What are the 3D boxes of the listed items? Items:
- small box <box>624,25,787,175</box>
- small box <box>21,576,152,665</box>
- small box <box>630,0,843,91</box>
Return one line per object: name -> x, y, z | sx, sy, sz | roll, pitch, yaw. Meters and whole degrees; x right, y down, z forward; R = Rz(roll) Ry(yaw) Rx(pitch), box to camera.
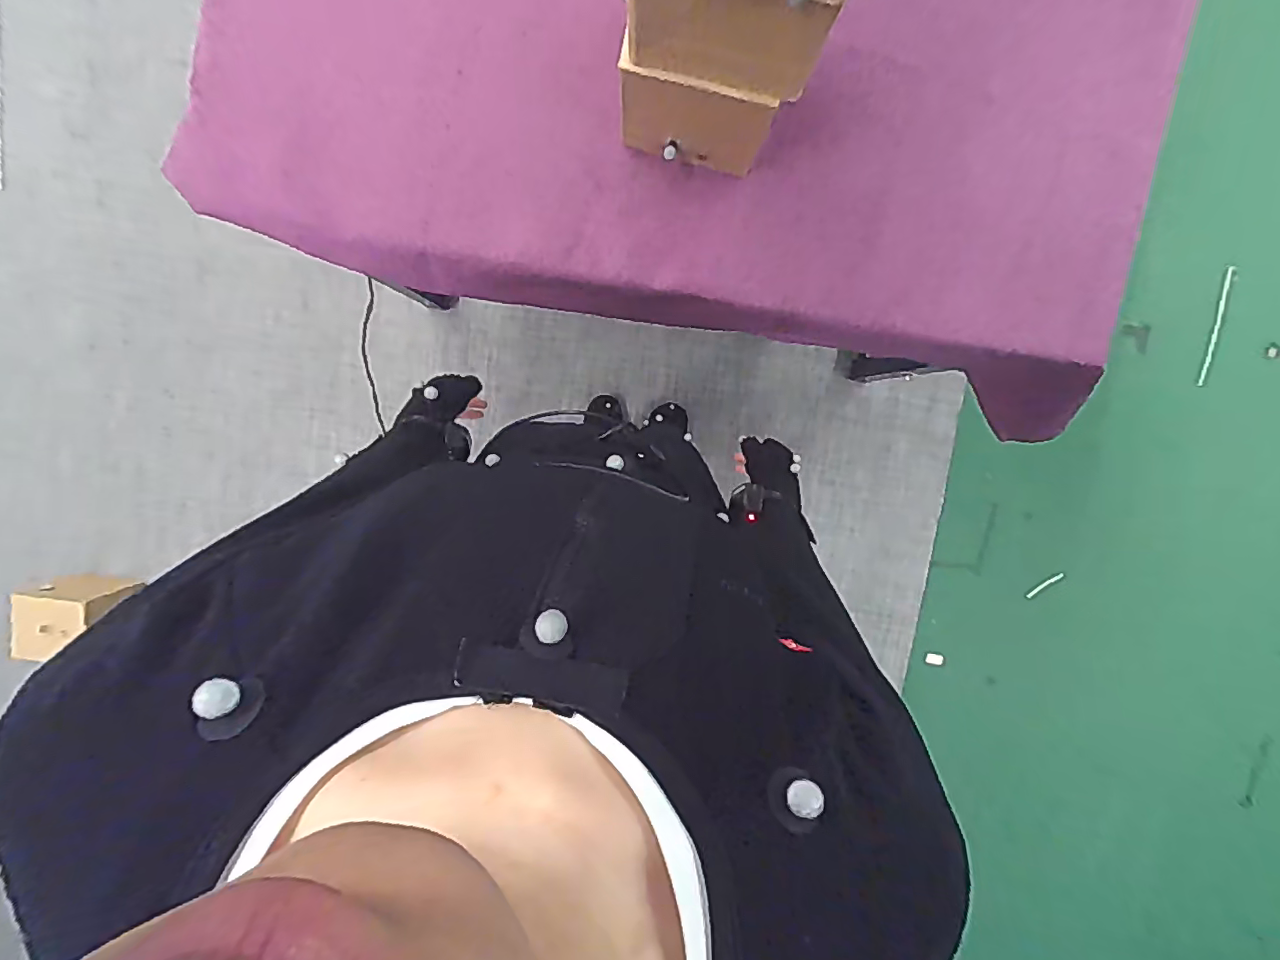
small box -> 0.080, -0.478, 0.597 | 0.168, 0.176, 0.179 | 13, 97, -2
small box -> -1.429, 0.356, 1.402 | 0.179, 0.176, 0.168 | 7, 98, -3
small box -> 0.089, -0.458, 0.437 | 0.179, 0.176, 0.168 | 11, 97, -2
